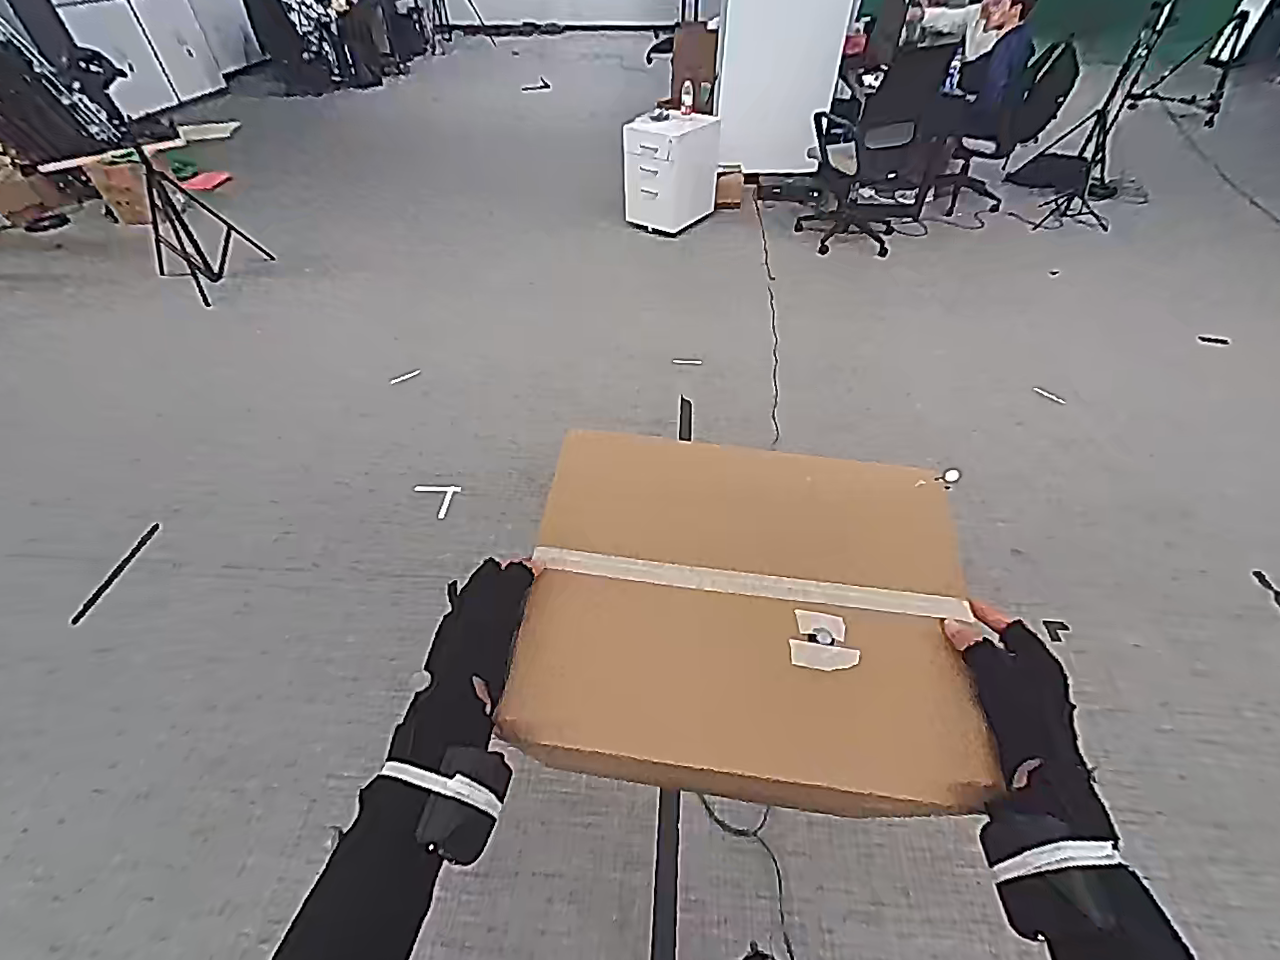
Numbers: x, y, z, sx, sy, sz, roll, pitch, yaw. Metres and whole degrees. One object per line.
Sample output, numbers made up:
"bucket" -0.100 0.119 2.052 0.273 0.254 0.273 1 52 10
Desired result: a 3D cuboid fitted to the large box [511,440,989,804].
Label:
"large box" 0.101 0.181 0.647 0.408 0.320 0.320 7 59 4
